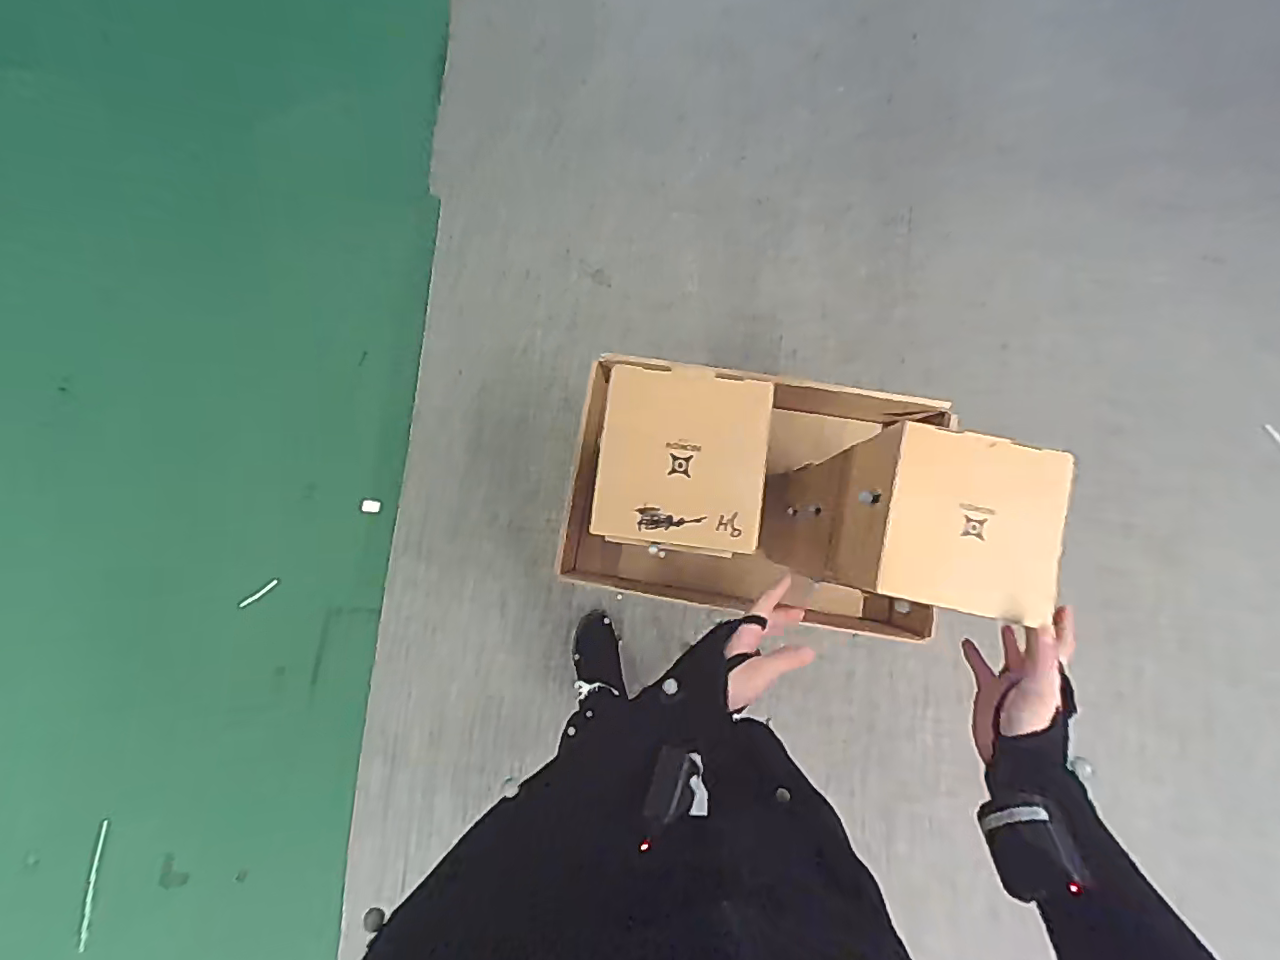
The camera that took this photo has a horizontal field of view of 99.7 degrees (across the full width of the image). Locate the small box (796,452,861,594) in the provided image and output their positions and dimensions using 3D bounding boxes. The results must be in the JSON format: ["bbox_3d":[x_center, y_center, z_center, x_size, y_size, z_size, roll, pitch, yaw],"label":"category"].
[{"bbox_3d":[0.329,0.073,0.763,0.168,0.176,0.179,12,83,4],"label":"small box"}]

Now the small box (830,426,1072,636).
[{"bbox_3d":[0.325,0.055,0.601,0.168,0.176,0.179,12,84,4],"label":"small box"}]

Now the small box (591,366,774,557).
[{"bbox_3d":[0.046,-0.011,0.616,0.168,0.176,0.179,7,84,4],"label":"small box"}]

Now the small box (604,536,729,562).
[{"bbox_3d":[0.050,0.014,0.778,0.168,0.176,0.179,8,85,3],"label":"small box"}]
